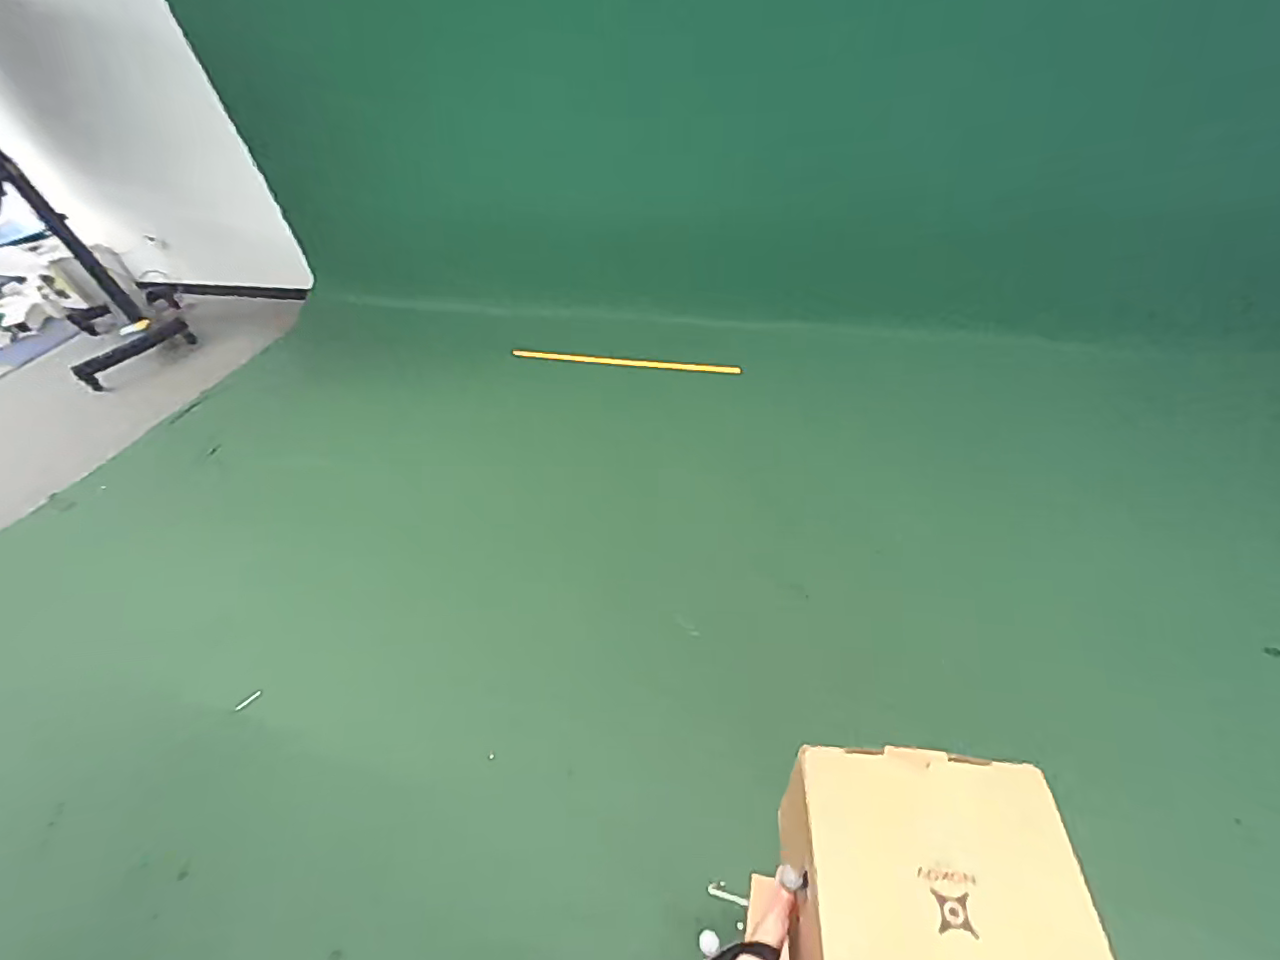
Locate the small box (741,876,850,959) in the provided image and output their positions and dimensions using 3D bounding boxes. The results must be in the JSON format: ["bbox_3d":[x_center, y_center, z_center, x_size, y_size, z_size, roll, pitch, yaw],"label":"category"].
[{"bbox_3d":[0.264,0.833,0.940,0.168,0.176,0.179,7,46,16],"label":"small box"}]
